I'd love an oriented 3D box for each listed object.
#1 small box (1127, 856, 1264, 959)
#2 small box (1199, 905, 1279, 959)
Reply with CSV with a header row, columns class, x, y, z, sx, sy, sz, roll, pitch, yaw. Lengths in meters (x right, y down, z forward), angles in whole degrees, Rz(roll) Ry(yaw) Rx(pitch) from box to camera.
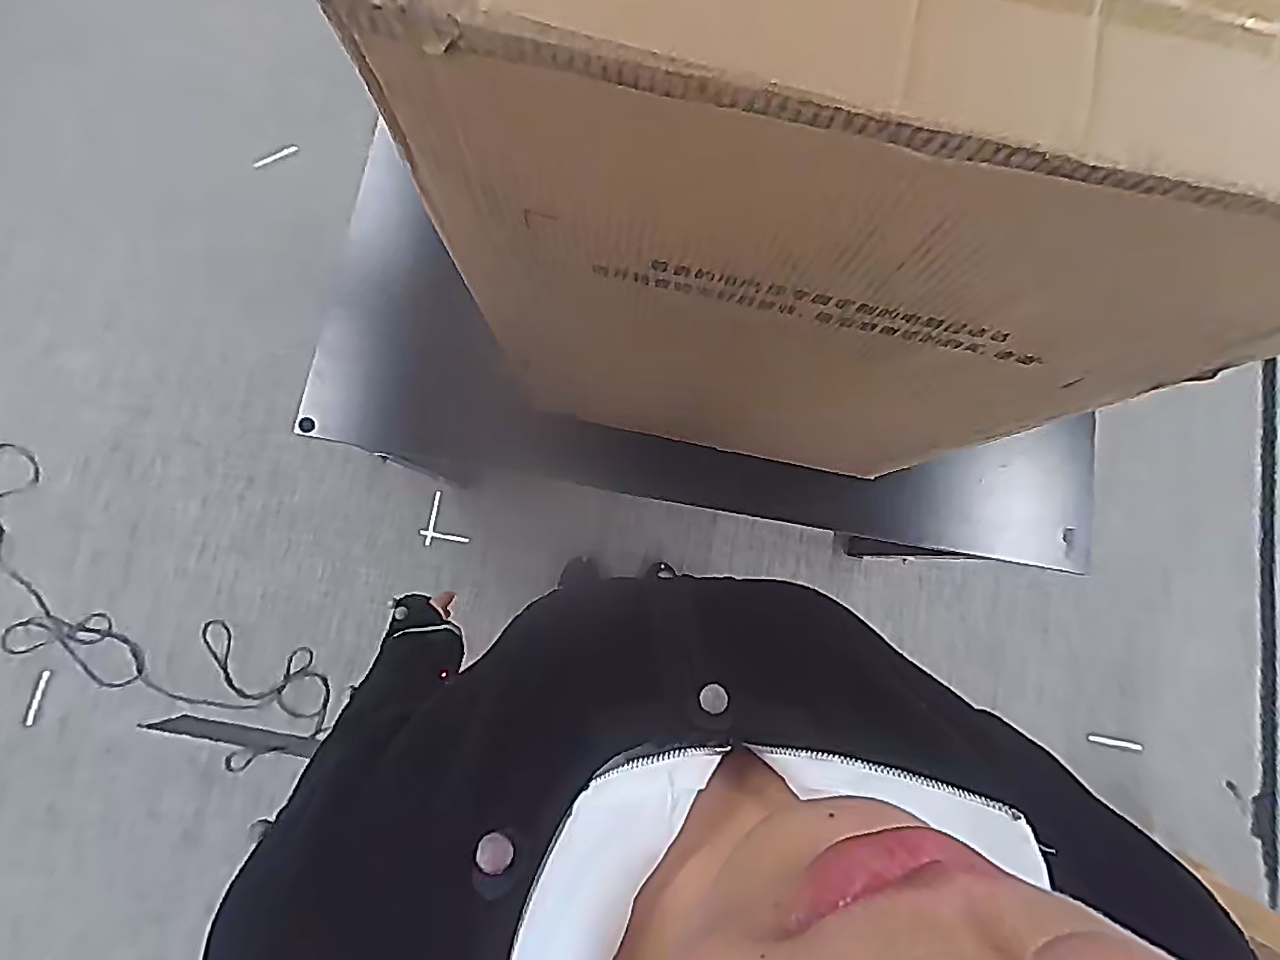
class,x,y,z,sx,sy,sz,roll,pitch,yaw
small box,1.347,1.049,1.315,0.179,0.176,0.168,4,82,-1
small box,1.351,1.045,1.150,0.179,0.176,0.168,3,82,-2
